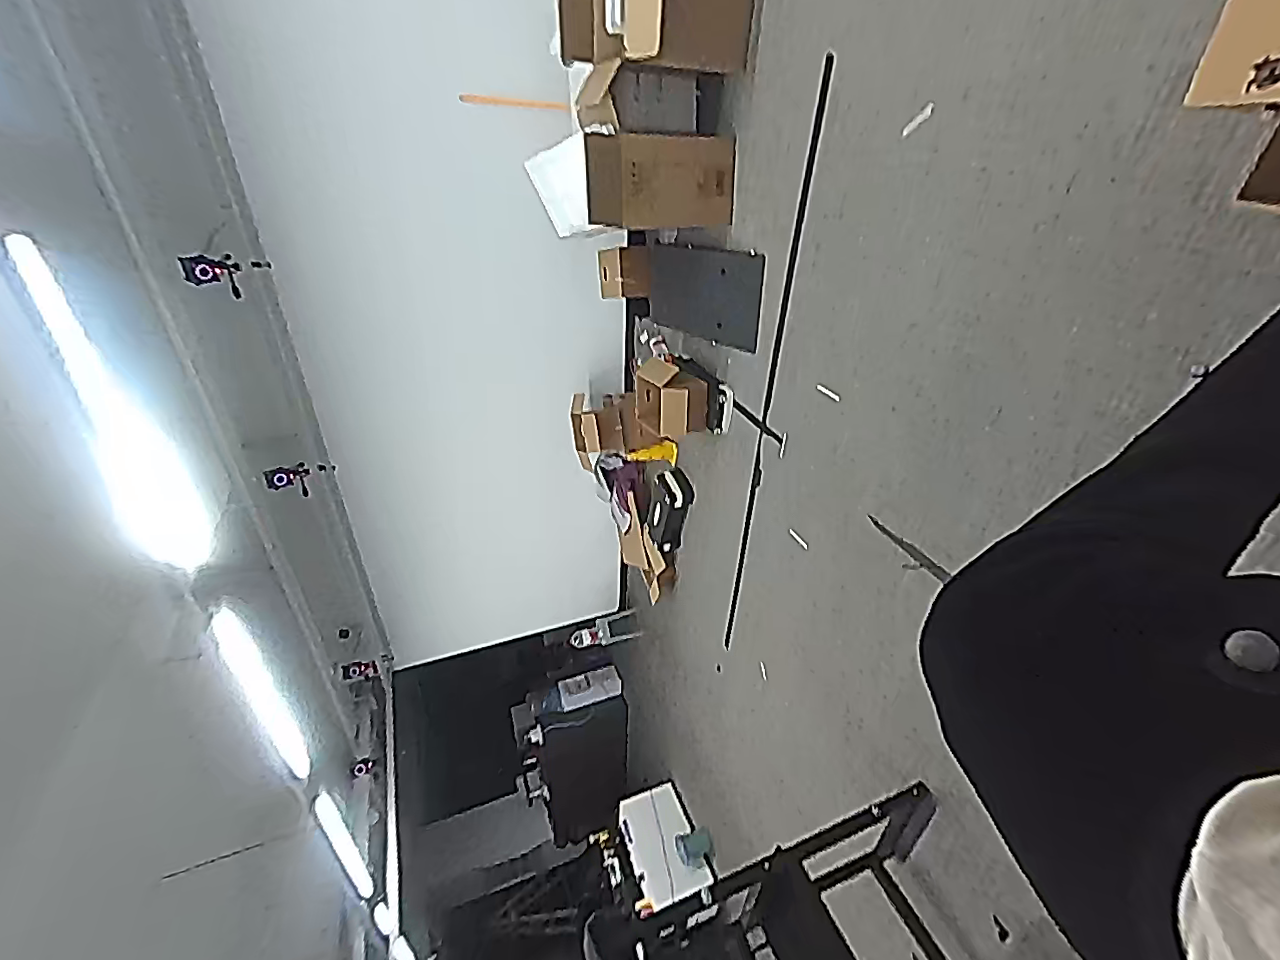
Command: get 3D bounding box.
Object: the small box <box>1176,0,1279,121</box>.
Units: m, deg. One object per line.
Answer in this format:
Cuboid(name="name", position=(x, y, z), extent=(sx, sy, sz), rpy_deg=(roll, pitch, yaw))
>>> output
Cuboid(name="small box", position=(0.637, -0.415, 0.455), extent=(0.168, 0.176, 0.179), rpy_deg=(-124, 31, -53))
